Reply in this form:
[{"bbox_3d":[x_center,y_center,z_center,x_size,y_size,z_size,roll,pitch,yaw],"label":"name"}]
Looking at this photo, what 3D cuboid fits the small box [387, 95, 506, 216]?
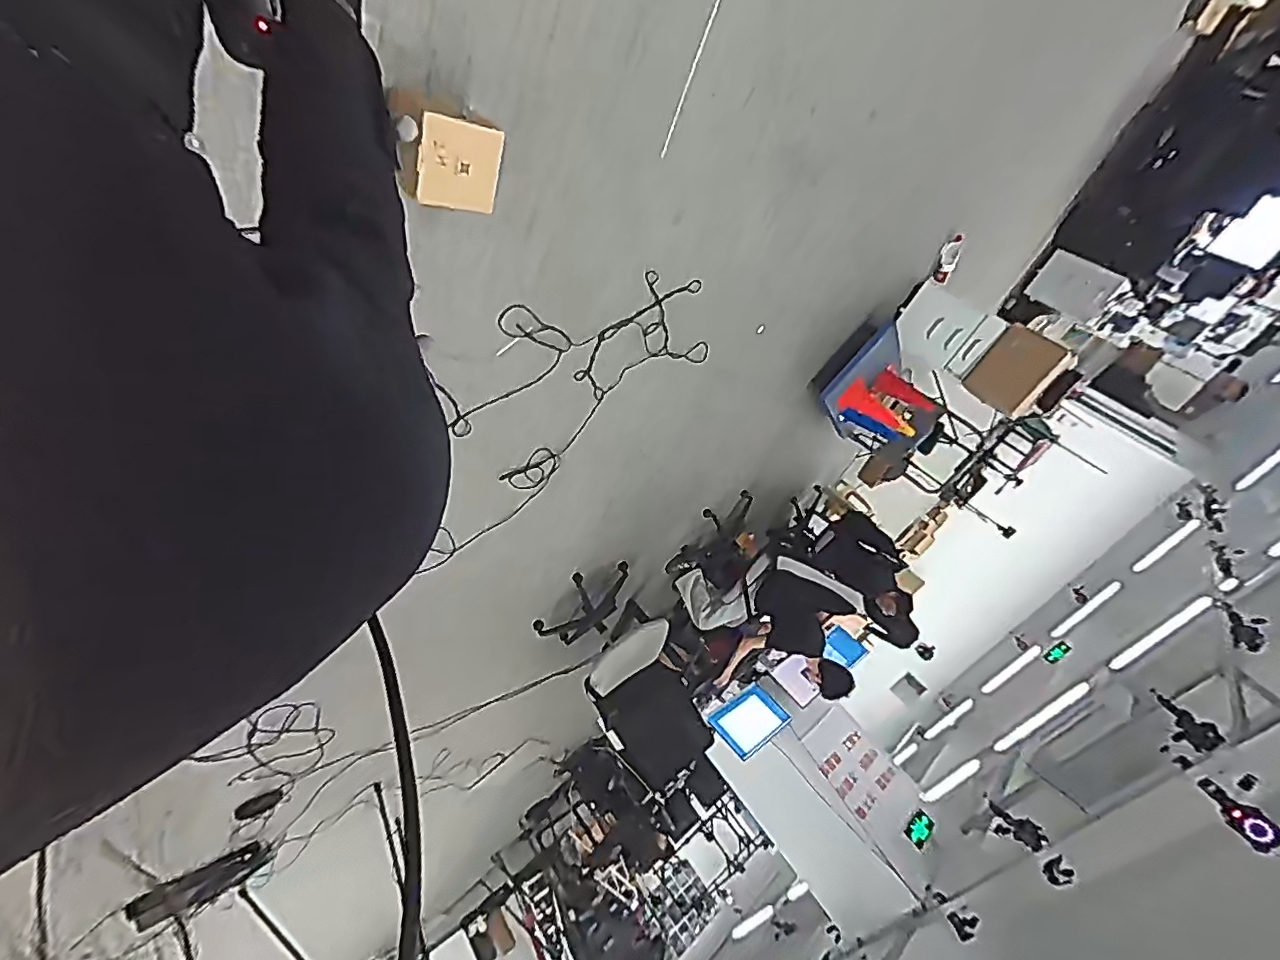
[{"bbox_3d":[-0.415,-0.689,1.153,0.179,0.176,0.168,-14,138,-41],"label":"small box"}]
